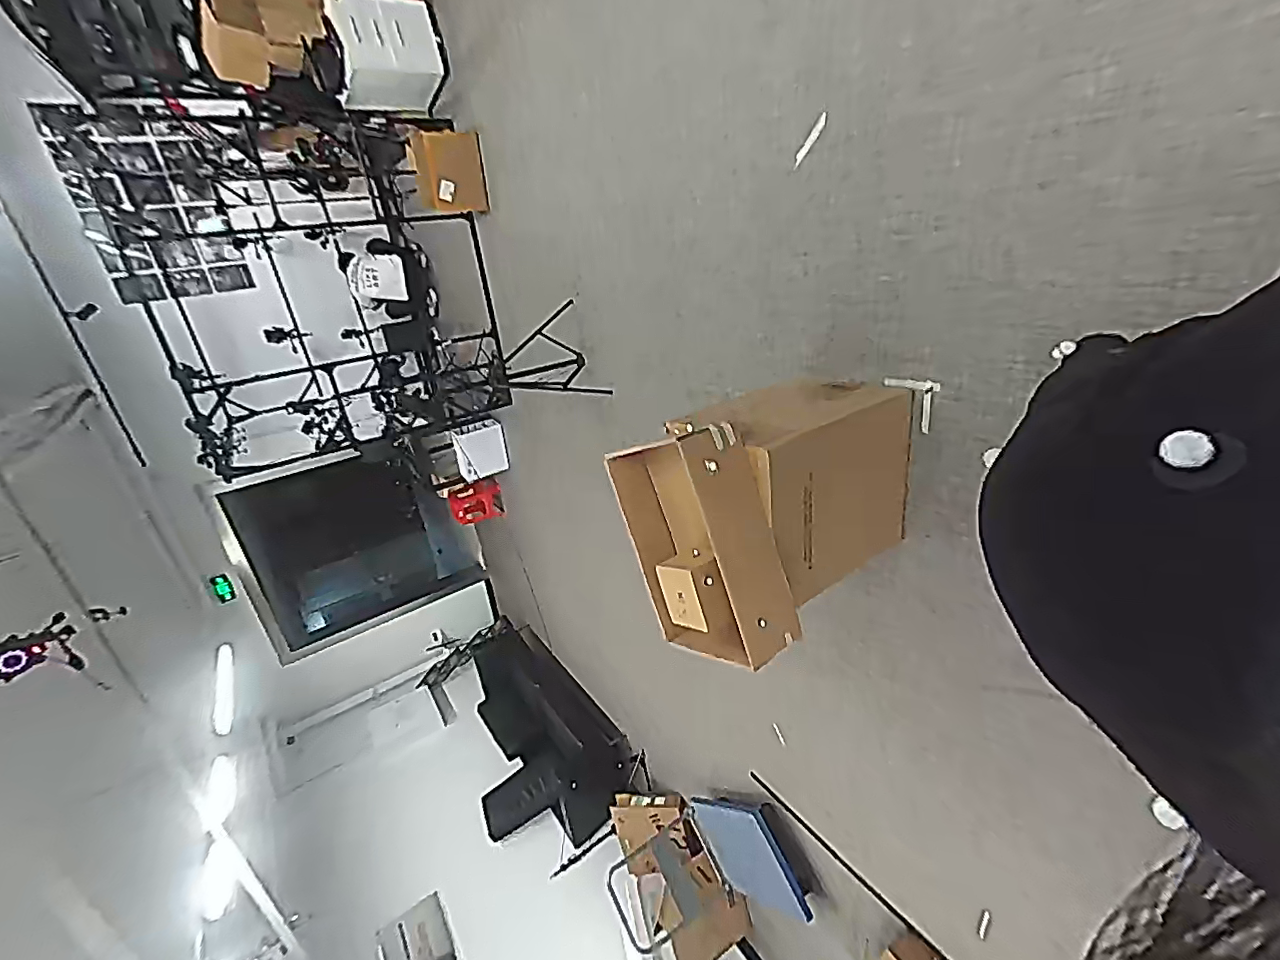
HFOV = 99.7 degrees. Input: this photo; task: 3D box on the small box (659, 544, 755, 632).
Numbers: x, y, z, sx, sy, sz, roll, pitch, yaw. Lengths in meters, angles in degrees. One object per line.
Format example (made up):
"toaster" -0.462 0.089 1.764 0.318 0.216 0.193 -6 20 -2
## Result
"small box" 0.184 0.285 1.477 0.168 0.176 0.179 -6 103 59
